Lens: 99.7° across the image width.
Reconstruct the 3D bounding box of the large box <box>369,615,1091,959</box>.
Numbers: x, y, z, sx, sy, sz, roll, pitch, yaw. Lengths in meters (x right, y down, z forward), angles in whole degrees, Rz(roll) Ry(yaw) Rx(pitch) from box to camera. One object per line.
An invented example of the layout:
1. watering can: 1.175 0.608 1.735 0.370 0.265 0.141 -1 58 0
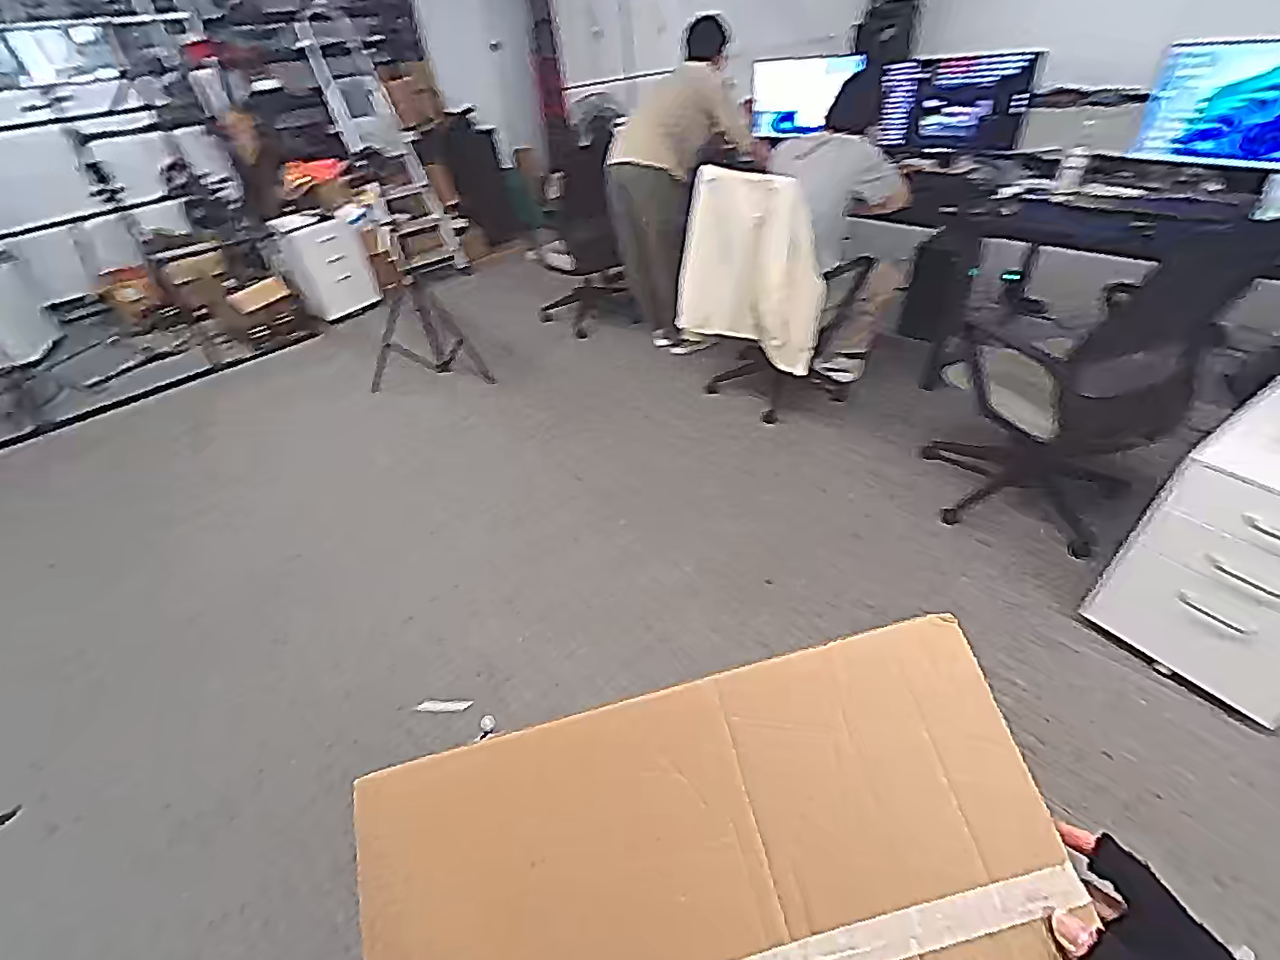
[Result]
1. large box: 0.059 0.338 0.449 0.408 0.320 0.320 -16 70 -2
